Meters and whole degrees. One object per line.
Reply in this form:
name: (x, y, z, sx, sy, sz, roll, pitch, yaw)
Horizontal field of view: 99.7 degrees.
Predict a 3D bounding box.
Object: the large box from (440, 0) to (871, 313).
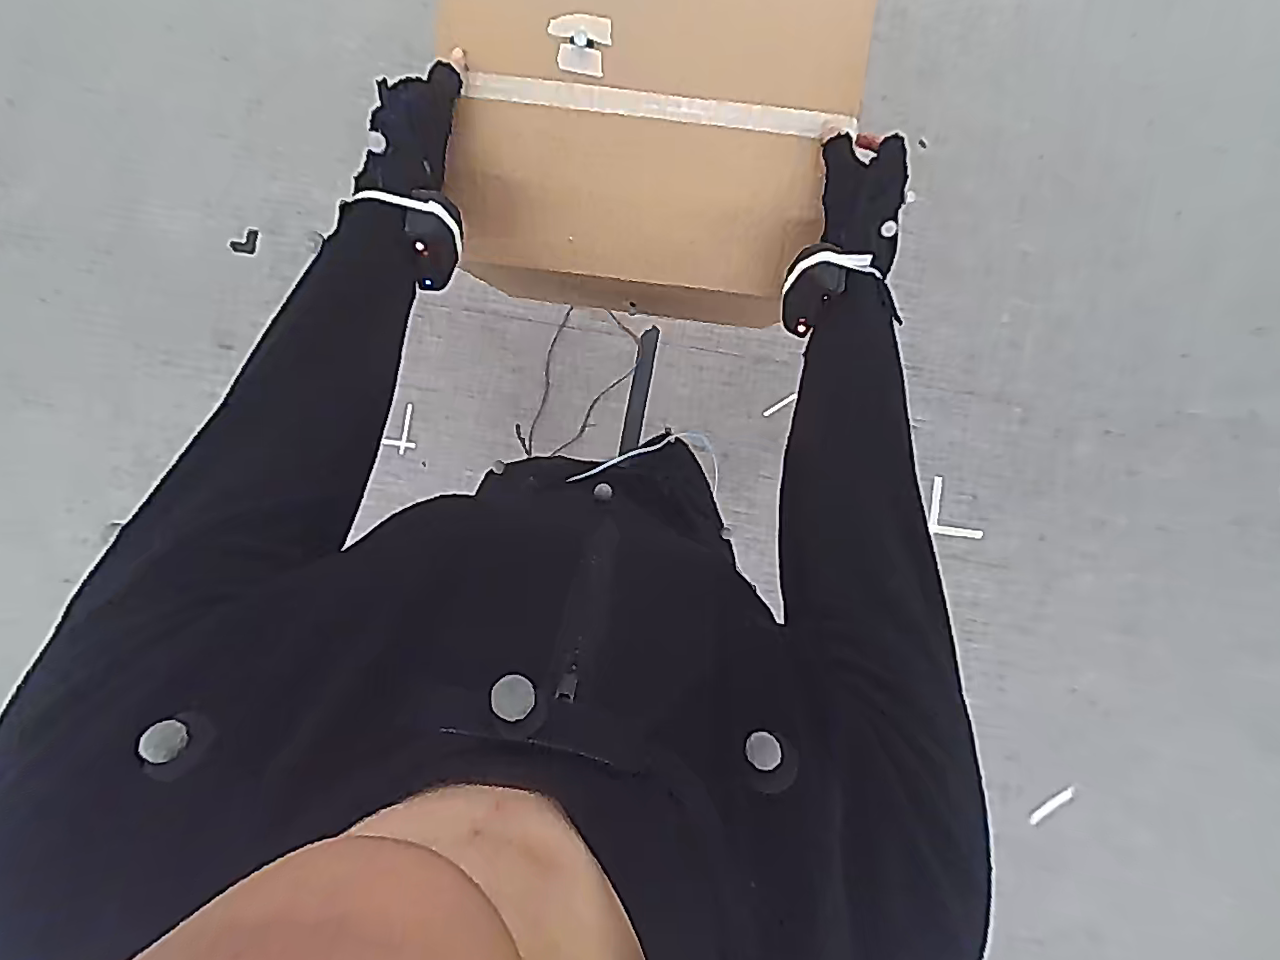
large box: (0.013, -0.396, 0.671, 0.408, 0.320, 0.320, 7, 101, 0)
